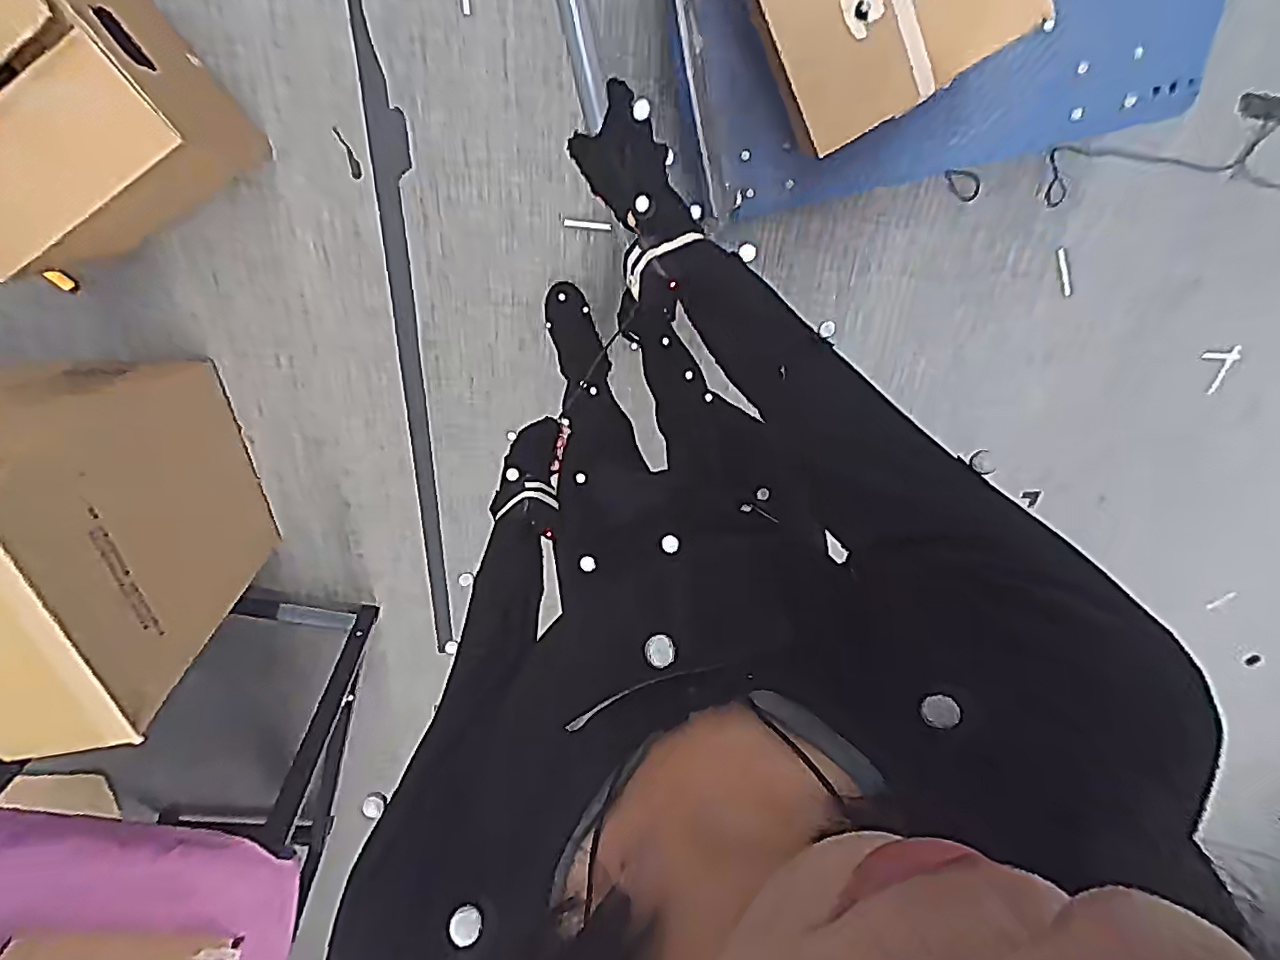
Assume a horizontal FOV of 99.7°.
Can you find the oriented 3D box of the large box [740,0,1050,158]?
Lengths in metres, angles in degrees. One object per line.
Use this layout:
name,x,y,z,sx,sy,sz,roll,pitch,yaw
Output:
large box,0.322,-0.775,0.807,0.320,0.320,0.408,-24,116,25
